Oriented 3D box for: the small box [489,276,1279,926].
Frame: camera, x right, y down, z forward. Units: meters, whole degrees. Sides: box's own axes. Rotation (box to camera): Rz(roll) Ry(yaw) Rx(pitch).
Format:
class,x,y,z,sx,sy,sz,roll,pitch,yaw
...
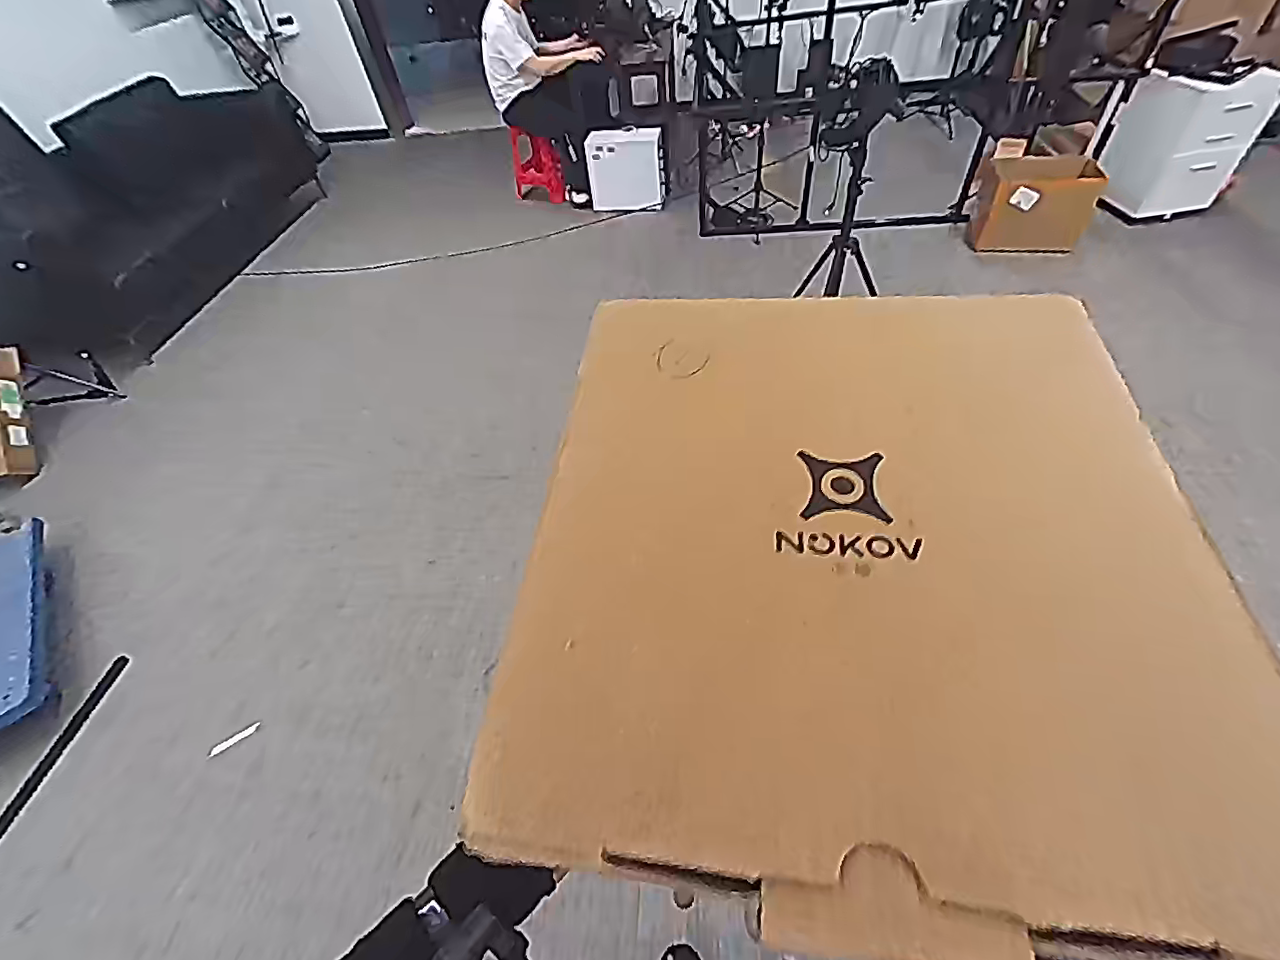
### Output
class,x,y,z,sx,sy,sz,roll,pitch,yaw
small box,0.066,0.045,0.209,0.168,0.176,0.179,2,54,9
